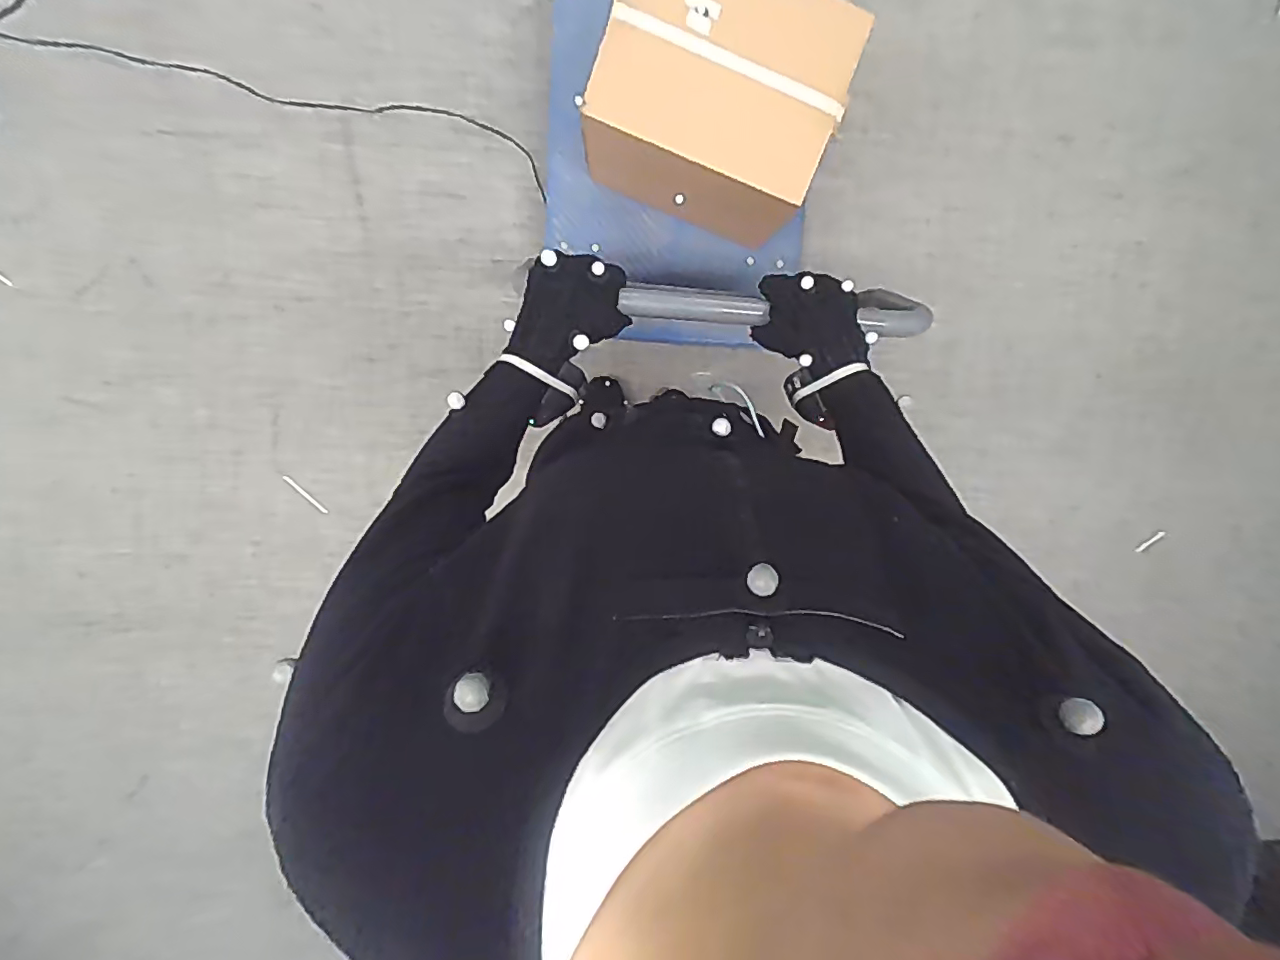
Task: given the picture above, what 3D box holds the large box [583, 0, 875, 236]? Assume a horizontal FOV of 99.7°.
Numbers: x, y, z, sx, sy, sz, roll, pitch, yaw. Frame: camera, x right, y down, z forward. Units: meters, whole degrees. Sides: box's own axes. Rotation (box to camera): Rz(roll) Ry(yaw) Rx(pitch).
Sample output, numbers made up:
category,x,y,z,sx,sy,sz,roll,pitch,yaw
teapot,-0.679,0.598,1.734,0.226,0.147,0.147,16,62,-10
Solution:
category,x,y,z,sx,sy,sz,roll,pitch,yaw
large box,0.141,-0.711,1.020,0.408,0.320,0.320,20,100,-5
